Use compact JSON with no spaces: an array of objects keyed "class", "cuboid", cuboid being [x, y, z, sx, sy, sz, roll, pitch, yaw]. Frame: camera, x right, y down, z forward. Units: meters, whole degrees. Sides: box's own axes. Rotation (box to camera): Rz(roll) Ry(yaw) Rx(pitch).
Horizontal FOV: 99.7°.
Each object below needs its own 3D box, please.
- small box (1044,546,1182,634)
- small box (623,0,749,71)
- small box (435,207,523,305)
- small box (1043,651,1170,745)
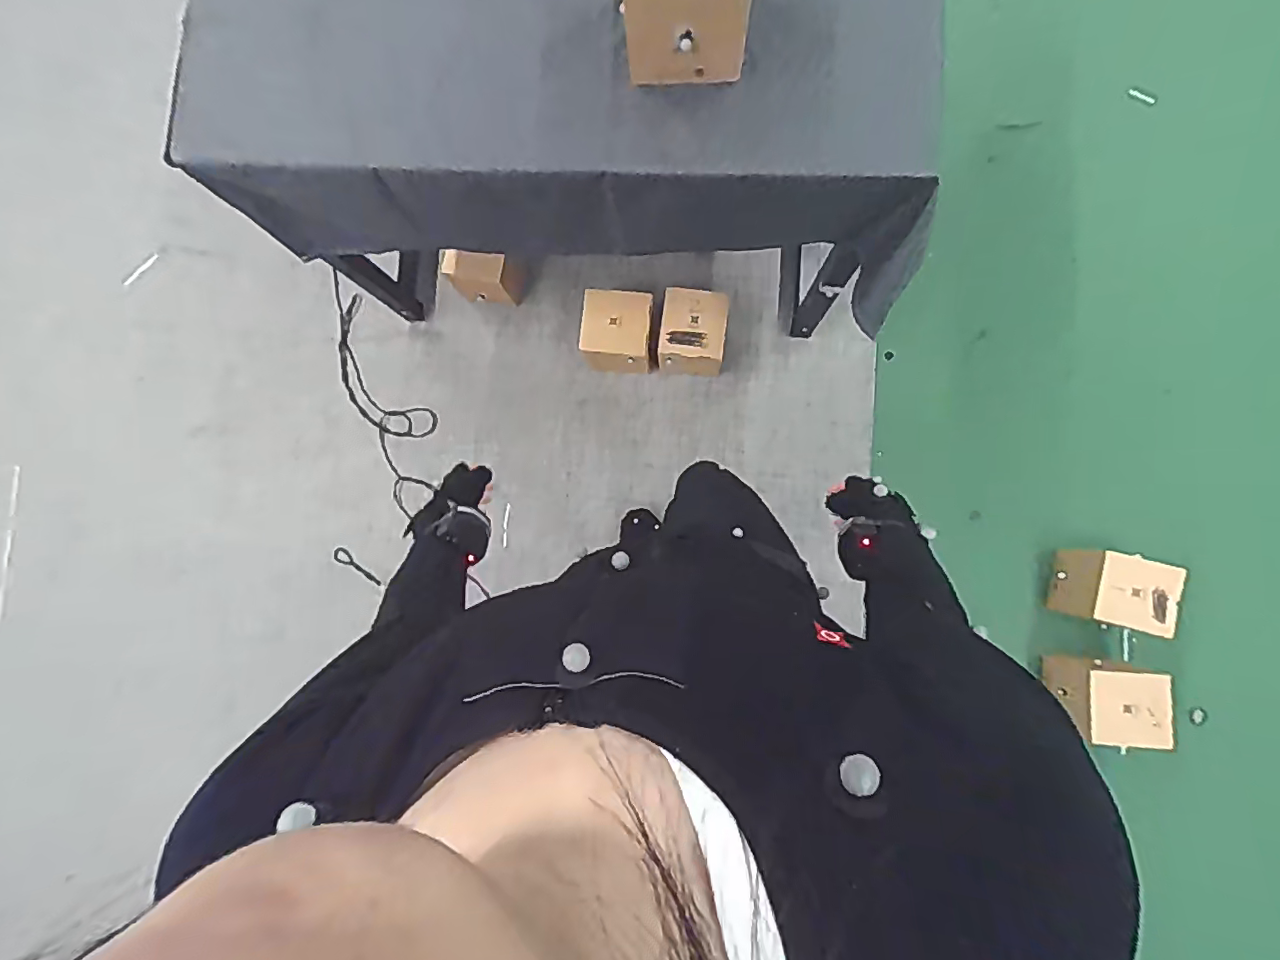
[{"class":"small box","cuboid":[1.147,0.260,1.322,0.179,0.176,0.168,14,86,6]},{"class":"small box","cuboid":[0.064,-0.693,0.731,0.168,0.176,0.179,1,86,3]},{"class":"small box","cuboid":[-0.432,-0.608,1.483,0.168,0.176,0.179,11,86,5]},{"class":"small box","cuboid":[1.112,0.516,1.304,0.179,0.176,0.168,2,87,4]}]
